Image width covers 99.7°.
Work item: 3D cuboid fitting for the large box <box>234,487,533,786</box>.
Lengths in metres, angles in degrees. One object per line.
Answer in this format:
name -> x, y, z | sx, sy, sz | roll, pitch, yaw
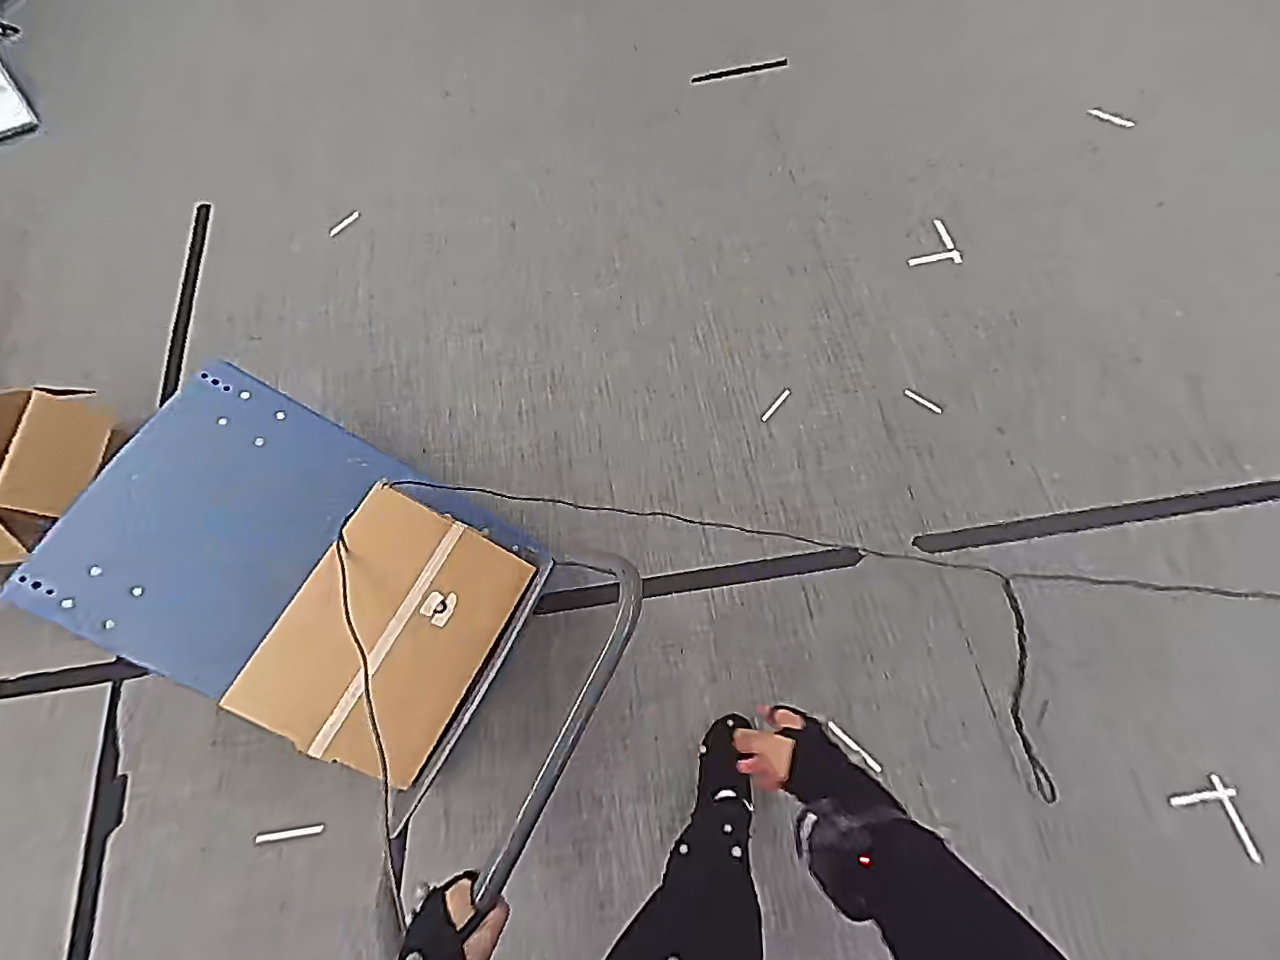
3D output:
large box -> -0.450, 0.283, 1.041 | 0.320, 0.320, 0.408 | 31, 71, -11
